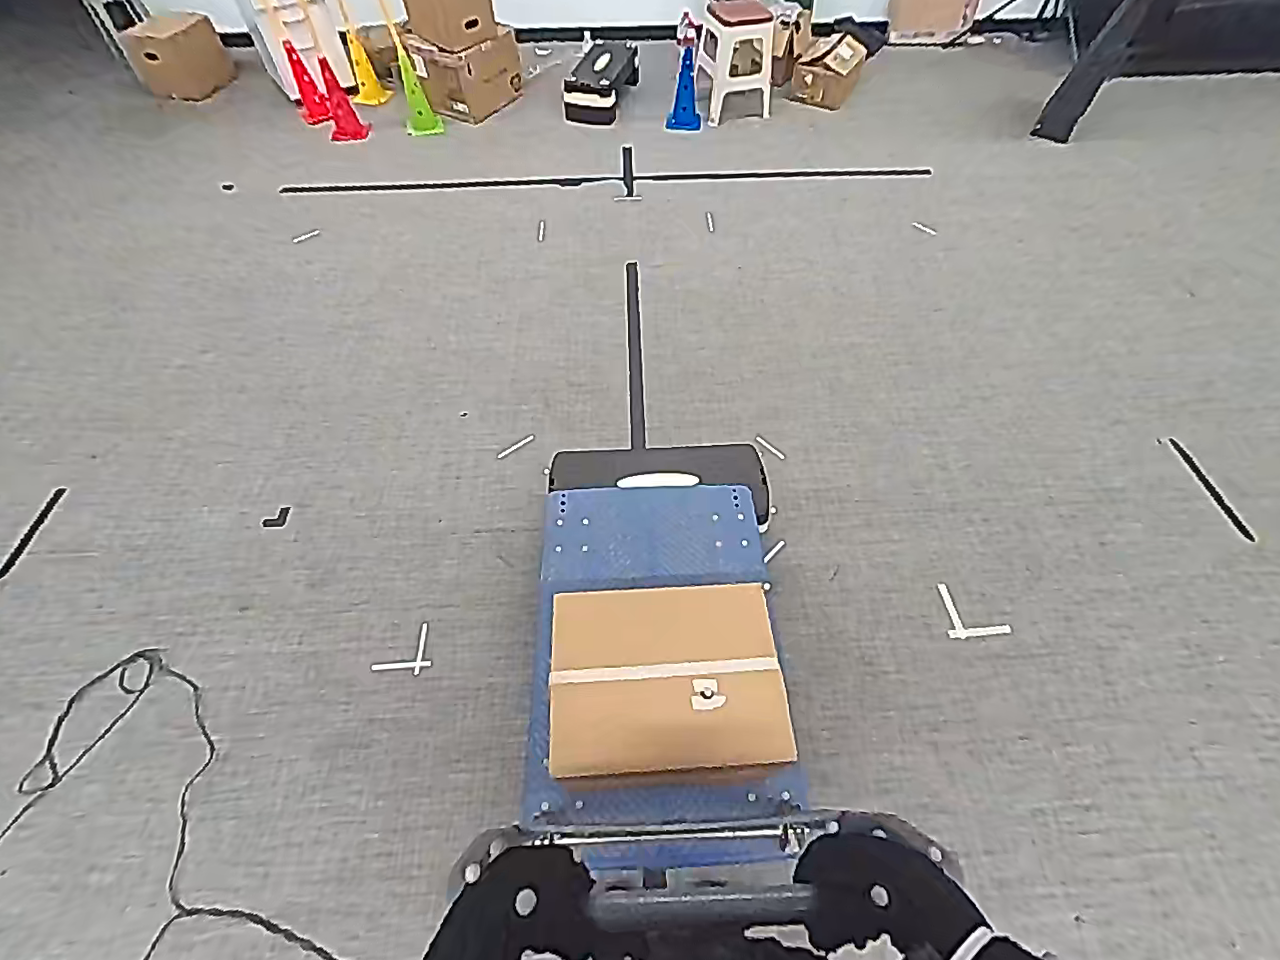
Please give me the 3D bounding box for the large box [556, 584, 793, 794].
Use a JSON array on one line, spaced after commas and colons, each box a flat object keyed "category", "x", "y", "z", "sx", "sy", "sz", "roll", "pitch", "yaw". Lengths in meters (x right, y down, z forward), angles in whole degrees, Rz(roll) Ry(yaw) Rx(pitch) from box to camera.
[{"category": "large box", "x": 0.044, "y": 0.428, "z": 1.094, "sx": 0.408, "sy": 0.320, "sz": 0.320, "roll": -3, "pitch": 56, "yaw": -3}]
